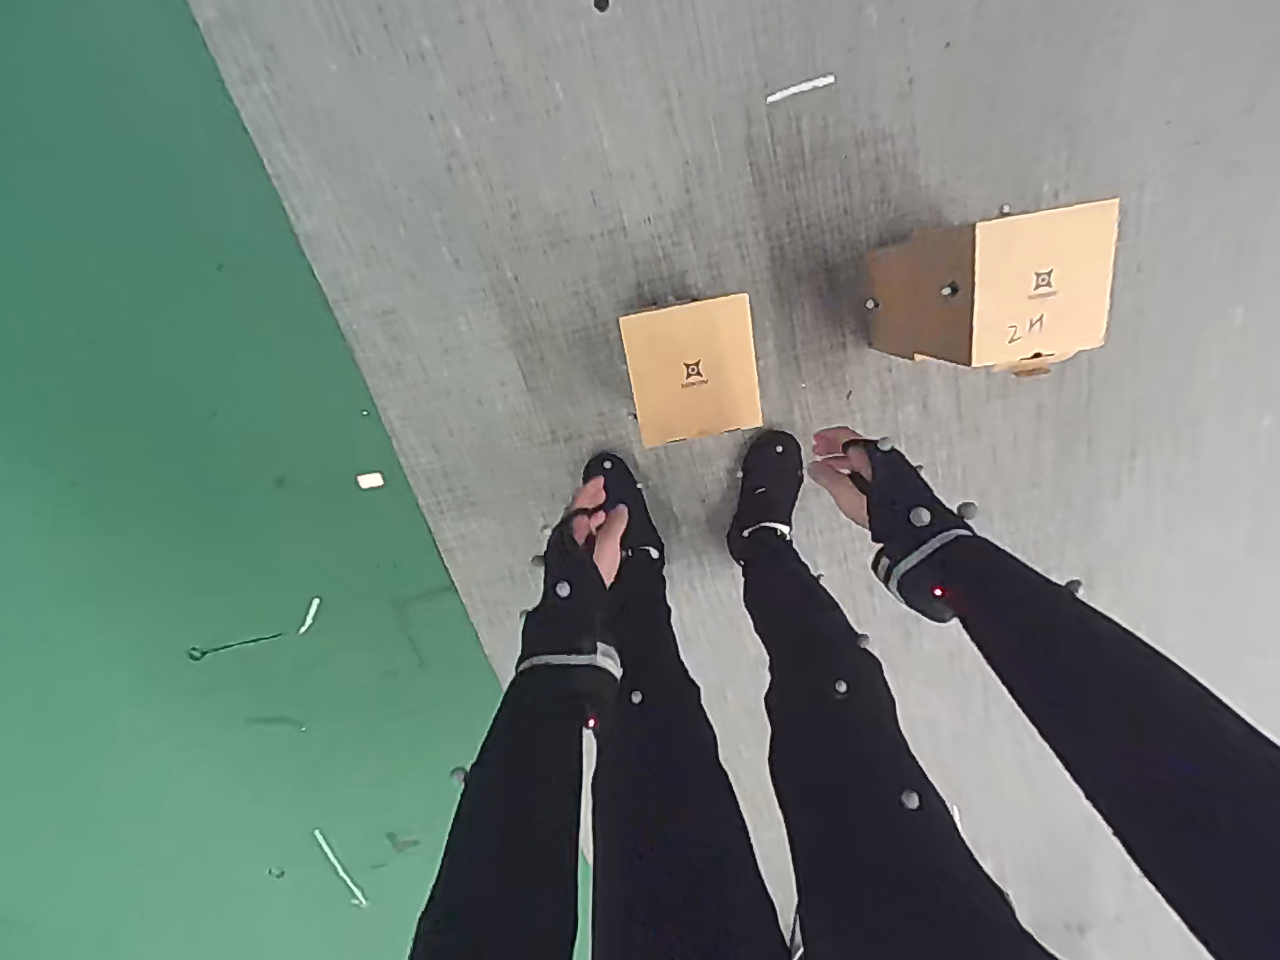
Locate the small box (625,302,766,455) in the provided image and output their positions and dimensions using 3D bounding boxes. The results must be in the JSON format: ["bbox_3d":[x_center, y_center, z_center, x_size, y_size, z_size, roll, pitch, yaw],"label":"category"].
[{"bbox_3d":[0.072,-0.153,0.777,0.168,0.176,0.179,-11,110,3],"label":"small box"}]

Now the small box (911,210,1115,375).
[{"bbox_3d":[0.491,-0.252,0.741,0.168,0.176,0.179,-8,110,4],"label":"small box"}]

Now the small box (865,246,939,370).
[{"bbox_3d":[0.493,-0.298,0.900,0.168,0.176,0.179,-13,110,4],"label":"small box"}]
